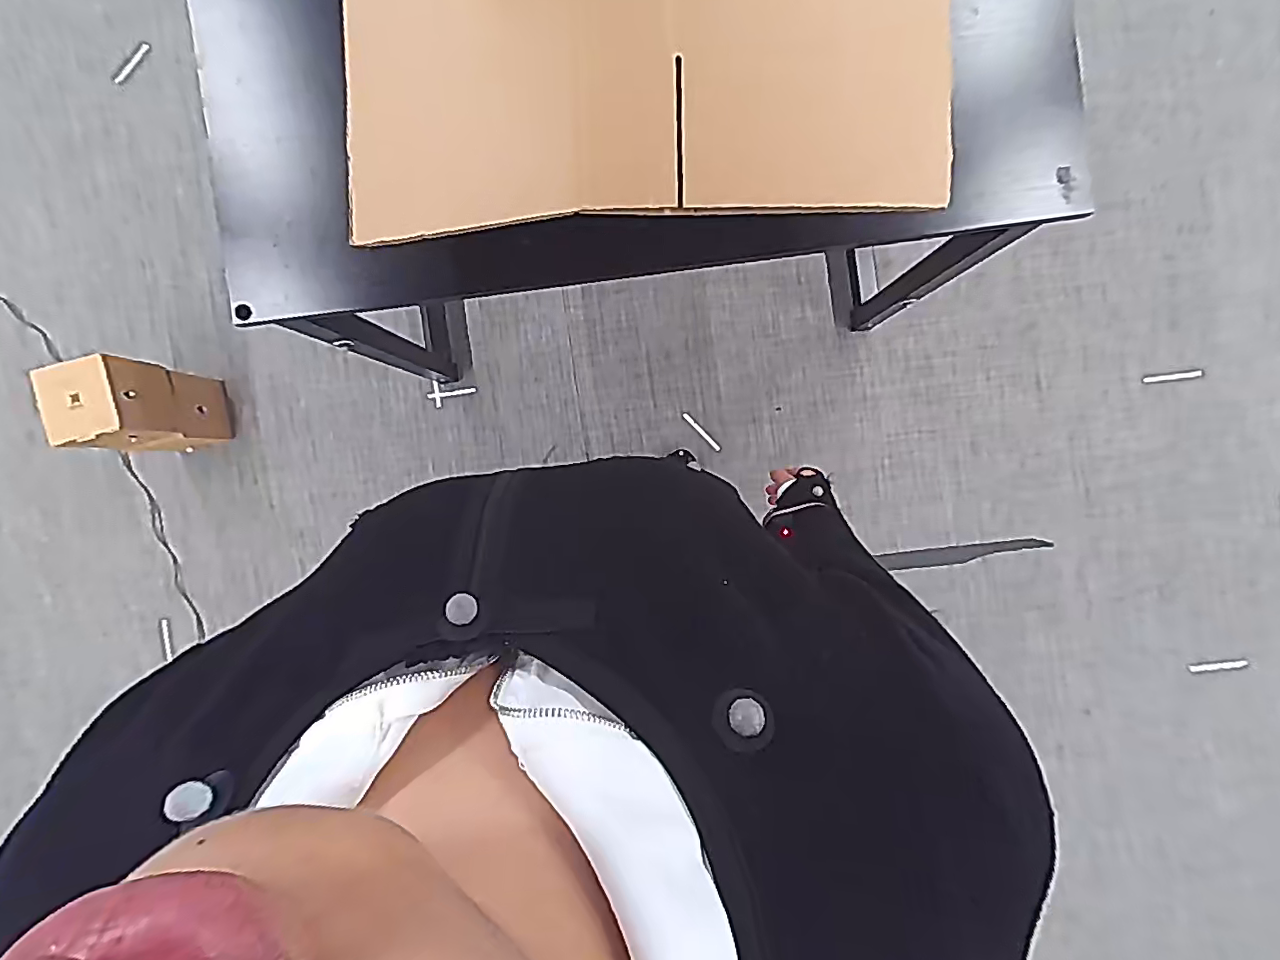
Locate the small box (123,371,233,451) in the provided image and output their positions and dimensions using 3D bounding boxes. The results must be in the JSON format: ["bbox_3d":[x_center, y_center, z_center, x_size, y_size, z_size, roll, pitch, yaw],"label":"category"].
[{"bbox_3d":[-1.230,-0.177,1.433,0.168,0.176,0.179,-11,92,2],"label":"small box"}]

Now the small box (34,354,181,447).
[{"bbox_3d":[-1.236,-0.178,1.271,0.168,0.176,0.179,-14,90,1],"label":"small box"}]
